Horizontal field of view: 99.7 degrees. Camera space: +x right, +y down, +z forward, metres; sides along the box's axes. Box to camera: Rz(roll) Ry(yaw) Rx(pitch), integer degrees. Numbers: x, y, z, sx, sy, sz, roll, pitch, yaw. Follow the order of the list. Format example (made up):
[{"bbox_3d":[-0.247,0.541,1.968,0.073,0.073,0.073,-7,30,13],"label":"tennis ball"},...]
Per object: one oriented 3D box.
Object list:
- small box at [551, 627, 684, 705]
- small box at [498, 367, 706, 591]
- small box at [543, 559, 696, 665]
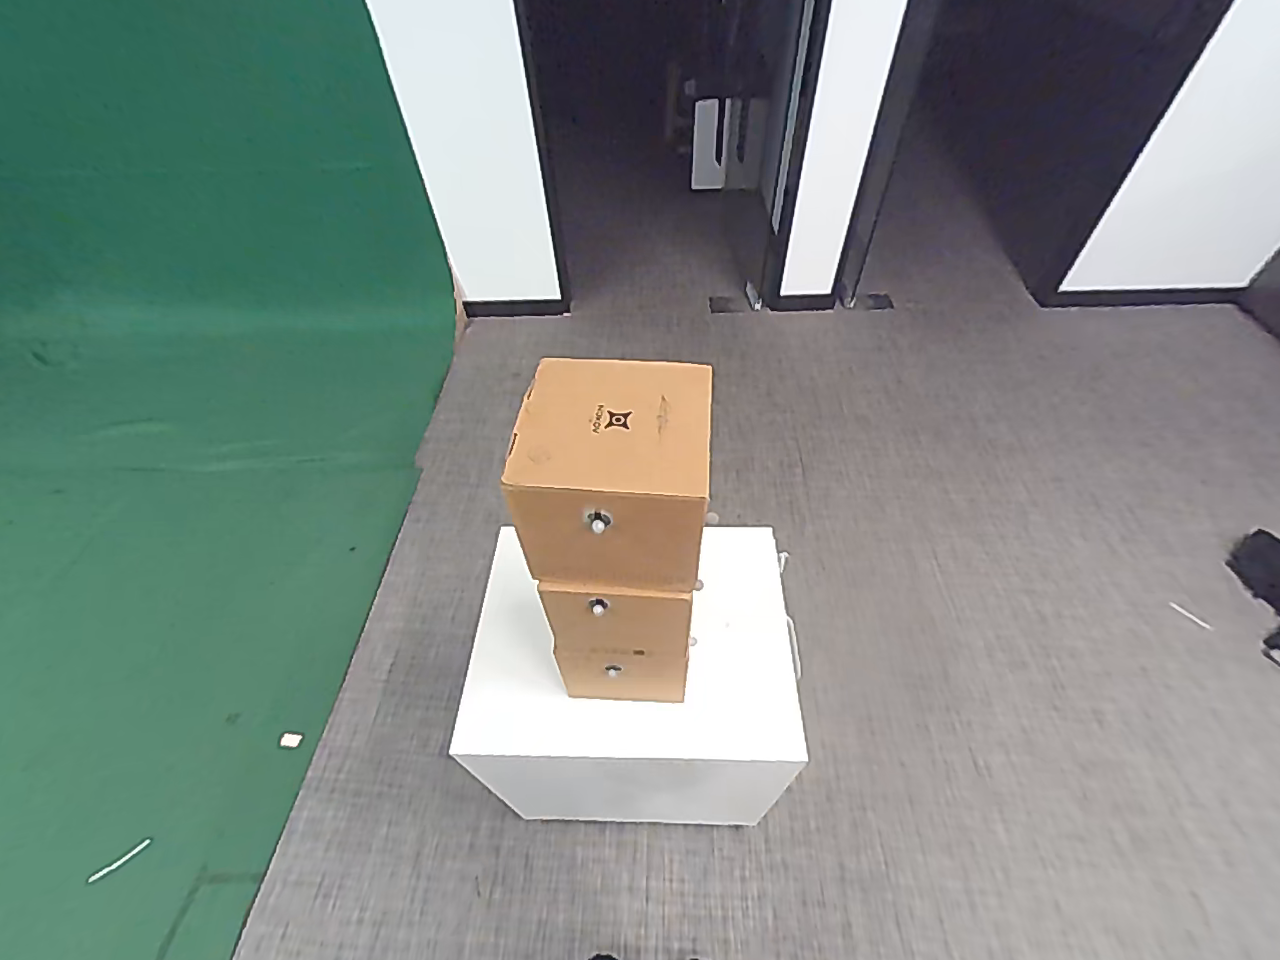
[{"bbox_3d":[-0.022,0.222,0.804,0.179,0.176,0.168,2,49,3],"label":"small box"},{"bbox_3d":[-0.026,0.003,0.563,0.179,0.176,0.168,4,51,4],"label":"small box"},{"bbox_3d":[-0.019,0.114,0.685,0.168,0.176,0.179,1,50,2],"label":"small box"}]
